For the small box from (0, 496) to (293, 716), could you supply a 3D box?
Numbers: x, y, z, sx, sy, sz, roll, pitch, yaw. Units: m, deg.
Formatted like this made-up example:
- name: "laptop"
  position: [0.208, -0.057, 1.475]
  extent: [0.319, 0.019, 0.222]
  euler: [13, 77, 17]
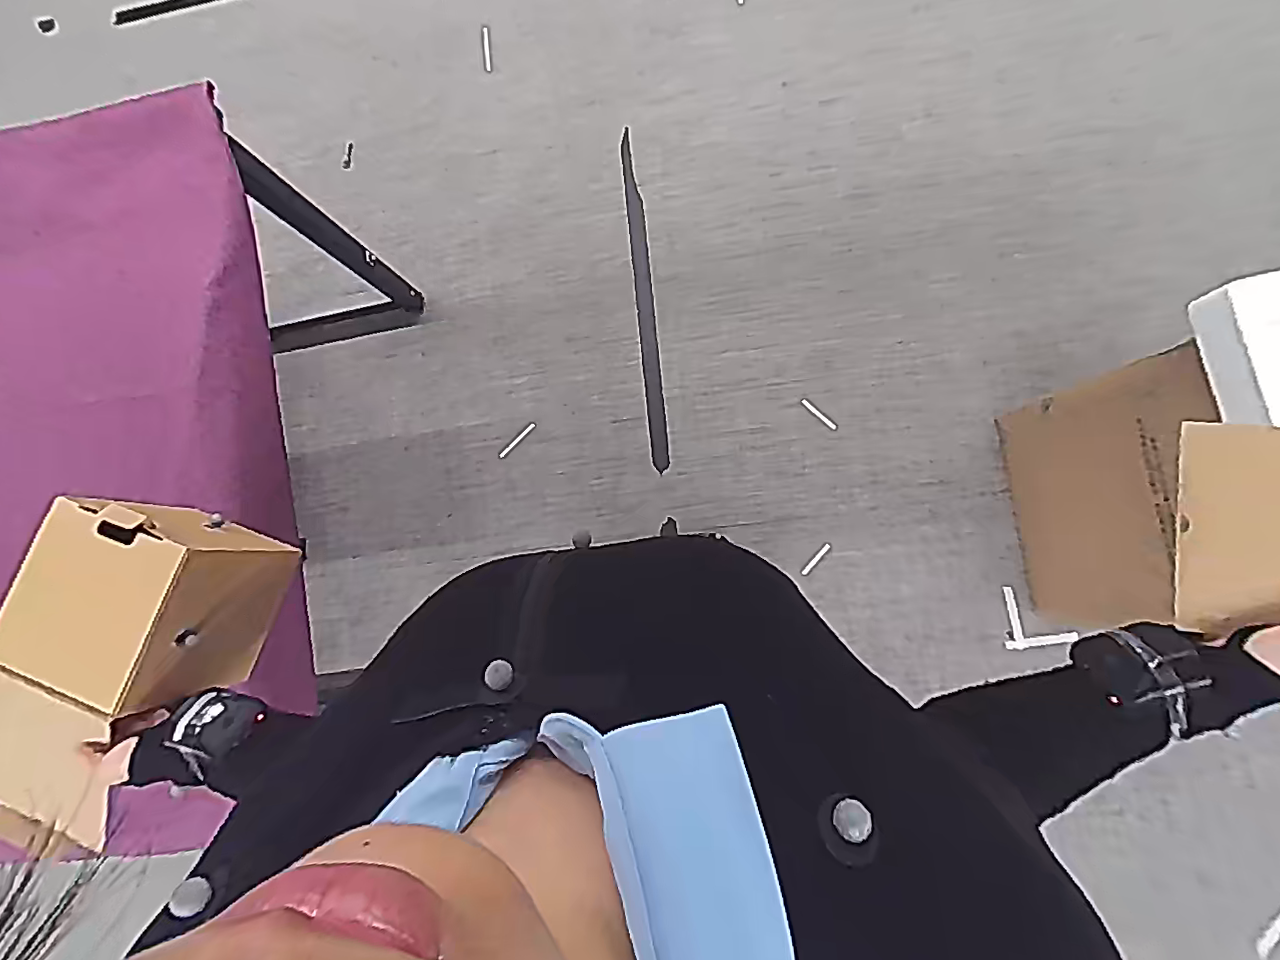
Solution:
- name: "small box"
  position: [-0.547, 0.135, 0.619]
  extent: [0.168, 0.176, 0.179]
  euler: [19, 83, 7]
